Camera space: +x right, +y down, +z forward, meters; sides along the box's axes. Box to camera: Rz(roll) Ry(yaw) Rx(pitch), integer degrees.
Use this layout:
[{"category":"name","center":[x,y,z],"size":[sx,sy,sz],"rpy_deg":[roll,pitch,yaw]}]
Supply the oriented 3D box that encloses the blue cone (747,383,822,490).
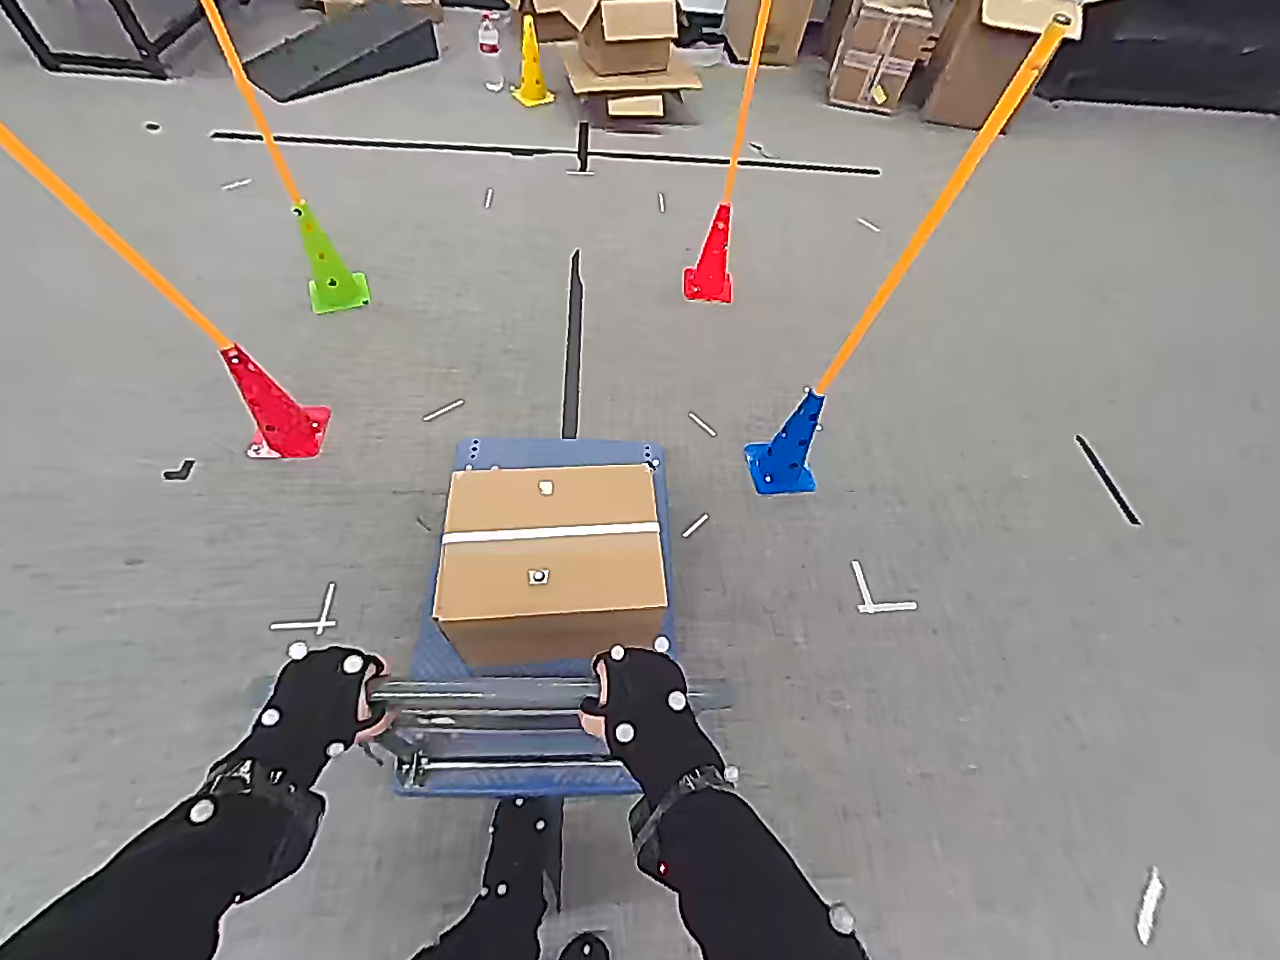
[{"category":"blue cone","center":[0.471,-0.140,1.629],"size":[0.193,0.380,0.192],"rpy_deg":[-3,56,-8]}]

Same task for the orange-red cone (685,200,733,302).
[{"category":"orange-red cone","center":[0.302,-0.904,2.096],"size":[0.199,0.360,0.198],"rpy_deg":[6,57,-3]}]
